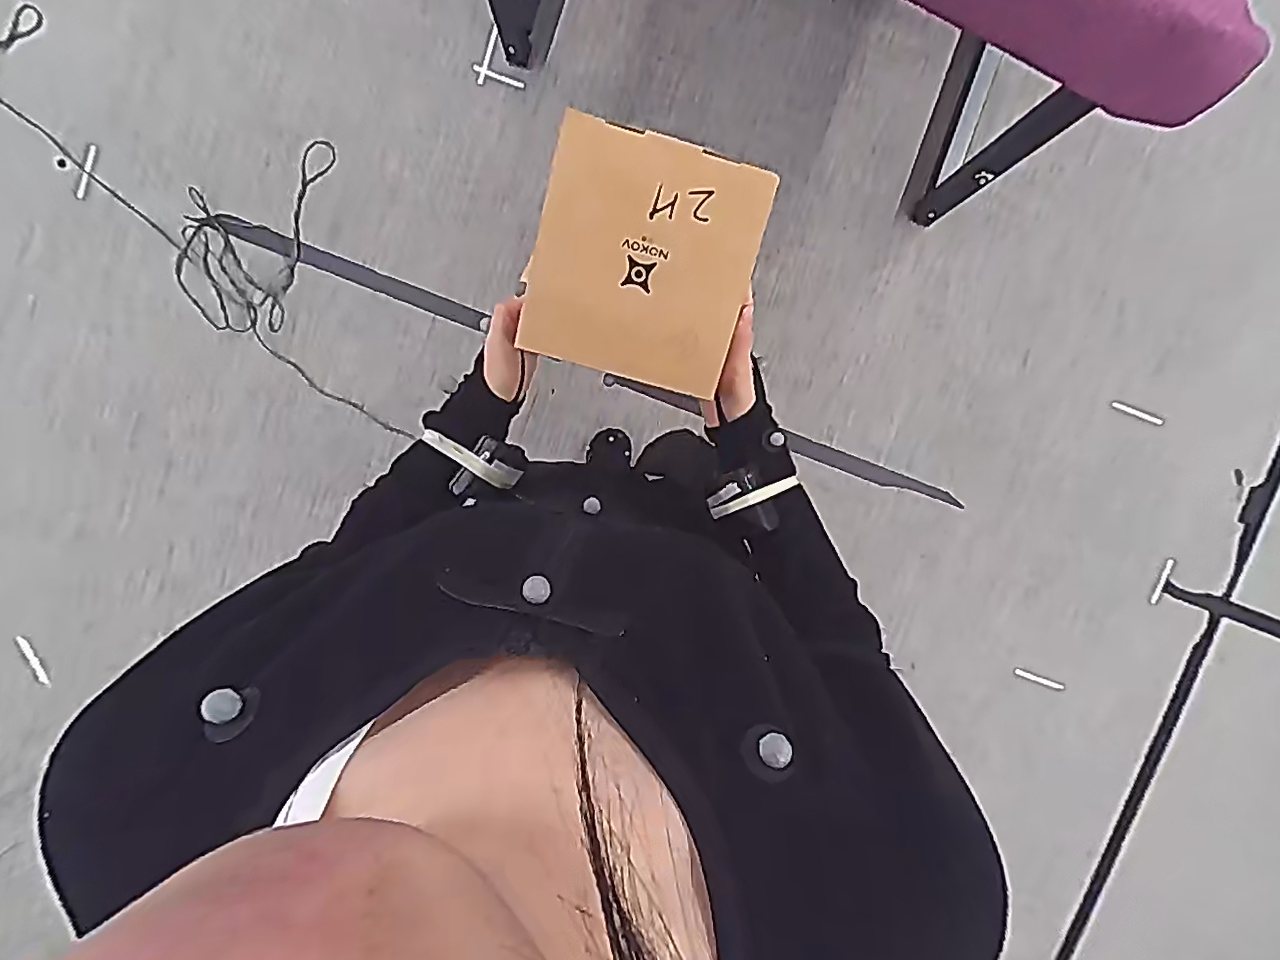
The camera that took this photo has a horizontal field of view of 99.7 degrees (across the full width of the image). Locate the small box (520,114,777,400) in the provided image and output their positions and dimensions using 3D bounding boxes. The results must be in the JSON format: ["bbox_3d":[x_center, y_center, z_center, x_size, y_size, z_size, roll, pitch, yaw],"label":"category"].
[{"bbox_3d":[0.004,-0.184,0.496,0.168,0.176,0.179,15,102,-4],"label":"small box"}]
